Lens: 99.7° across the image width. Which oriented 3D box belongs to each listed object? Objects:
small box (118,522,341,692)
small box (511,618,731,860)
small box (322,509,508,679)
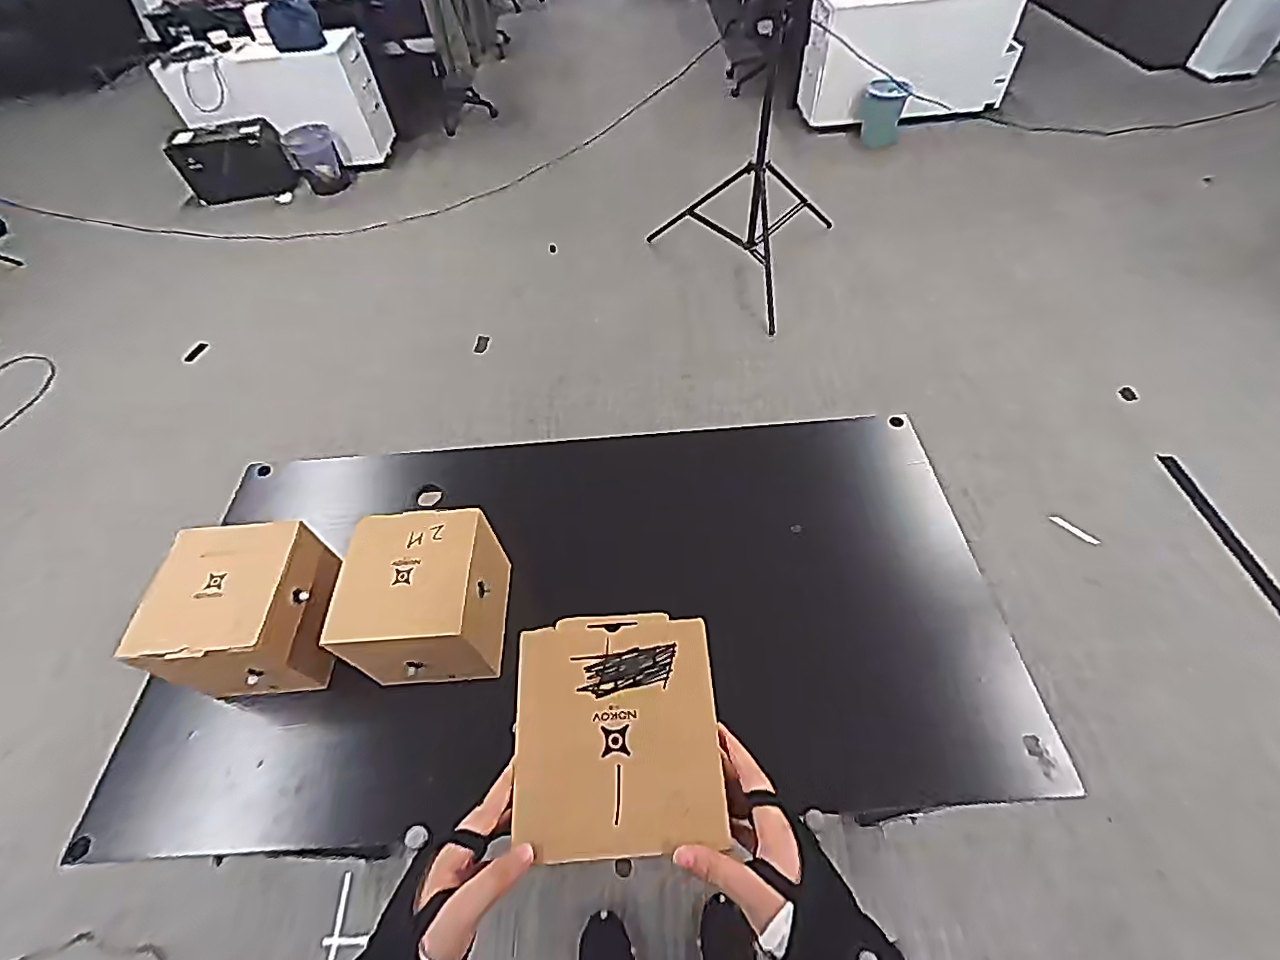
[{"bbox_3d":[-0.522,0.179,0.734,0.168,0.176,0.179,-4,53,0],"label":"small box"},{"bbox_3d":[-0.016,0.245,0.508,0.168,0.176,0.179,-4,58,0],"label":"small box"},{"bbox_3d":[-0.283,0.160,0.728,0.168,0.176,0.179,-4,54,1],"label":"small box"}]
